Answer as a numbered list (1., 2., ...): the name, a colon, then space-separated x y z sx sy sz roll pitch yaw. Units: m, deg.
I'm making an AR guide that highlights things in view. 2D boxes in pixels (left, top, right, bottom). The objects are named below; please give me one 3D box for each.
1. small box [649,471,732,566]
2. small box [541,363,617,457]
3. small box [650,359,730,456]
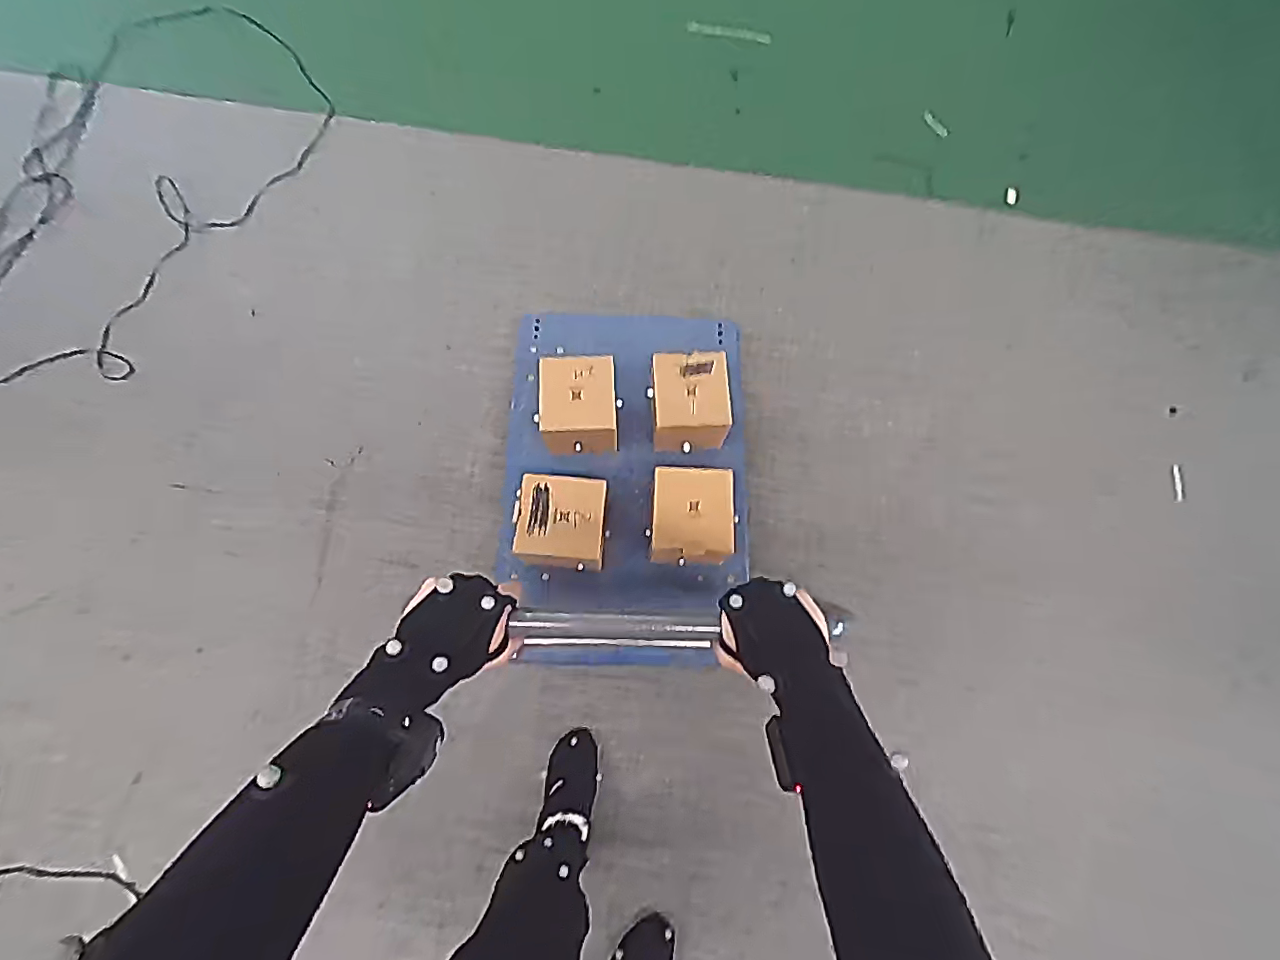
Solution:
1. small box: 0.108 0.091 1.206 0.168 0.176 0.179 2 73 -1
2. small box: -0.140 -0.157 1.274 0.168 0.176 0.179 -2 73 -3
3. small box: 0.112 -0.168 1.284 0.168 0.176 0.179 -2 74 -1
